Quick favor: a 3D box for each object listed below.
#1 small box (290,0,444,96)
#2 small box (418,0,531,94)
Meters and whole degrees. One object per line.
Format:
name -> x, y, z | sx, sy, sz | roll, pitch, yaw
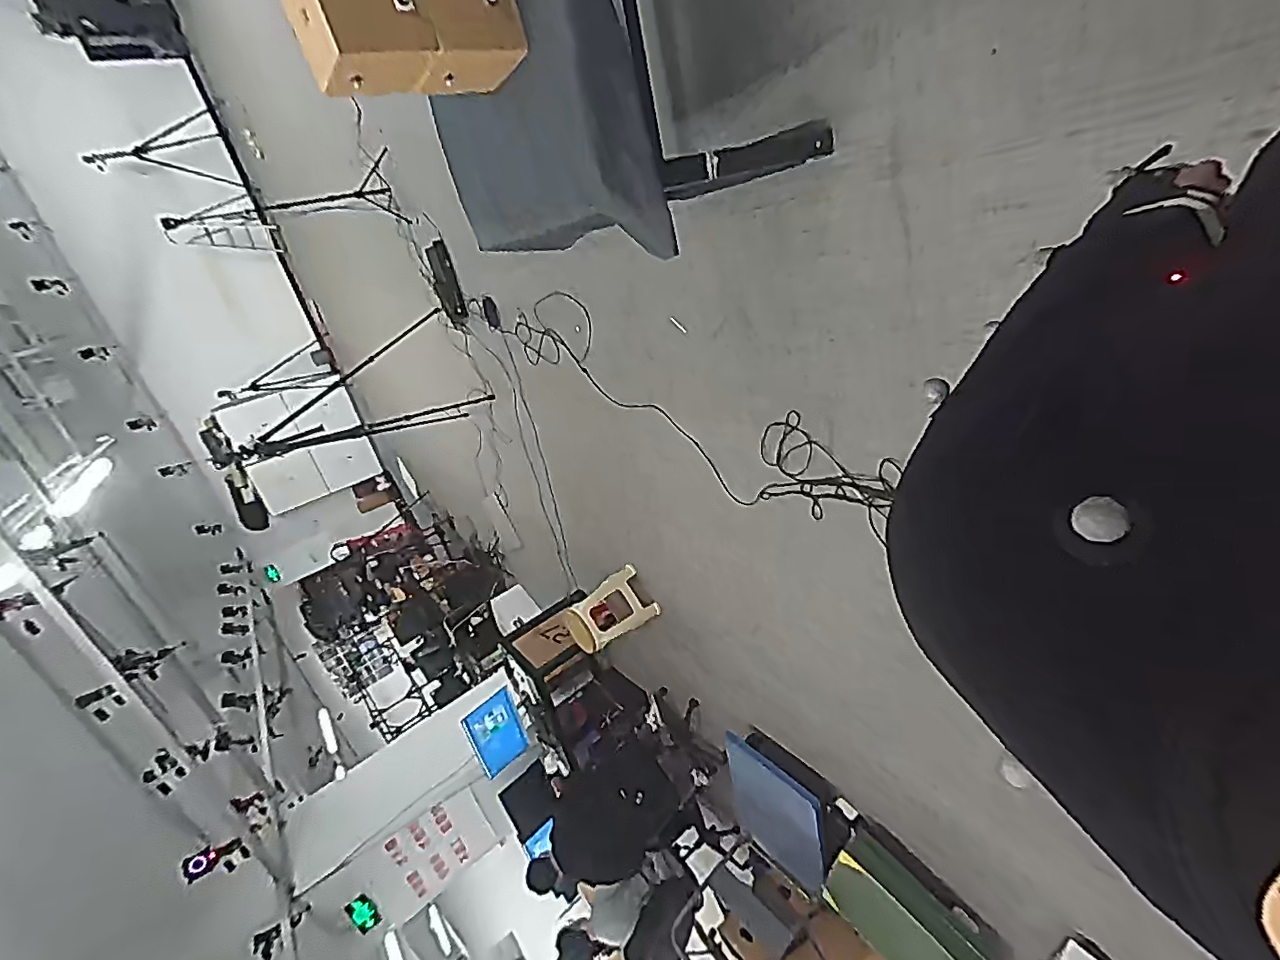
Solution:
small box -> -0.444, -0.753, 0.878 | 0.179, 0.176, 0.168 | 14, 127, 51
small box -> -0.319, -0.815, 0.960 | 0.179, 0.176, 0.168 | 14, 126, 52
